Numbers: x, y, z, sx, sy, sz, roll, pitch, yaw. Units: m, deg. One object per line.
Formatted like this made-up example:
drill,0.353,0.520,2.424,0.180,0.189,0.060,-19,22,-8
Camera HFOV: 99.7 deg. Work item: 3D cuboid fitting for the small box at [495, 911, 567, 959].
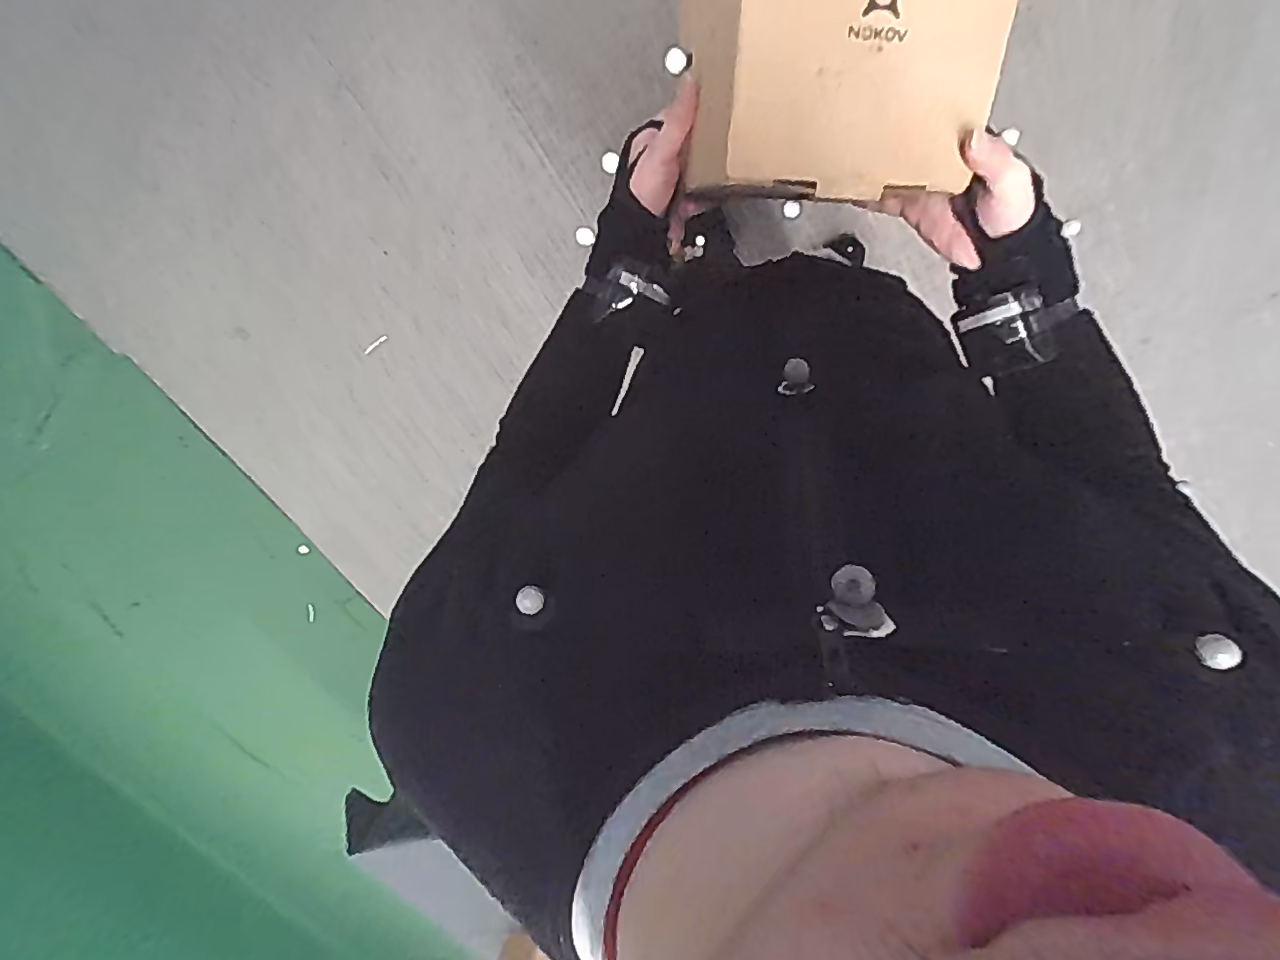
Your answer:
small box,-0.367,1.595,1.831,0.179,0.176,0.168,-27,109,26
